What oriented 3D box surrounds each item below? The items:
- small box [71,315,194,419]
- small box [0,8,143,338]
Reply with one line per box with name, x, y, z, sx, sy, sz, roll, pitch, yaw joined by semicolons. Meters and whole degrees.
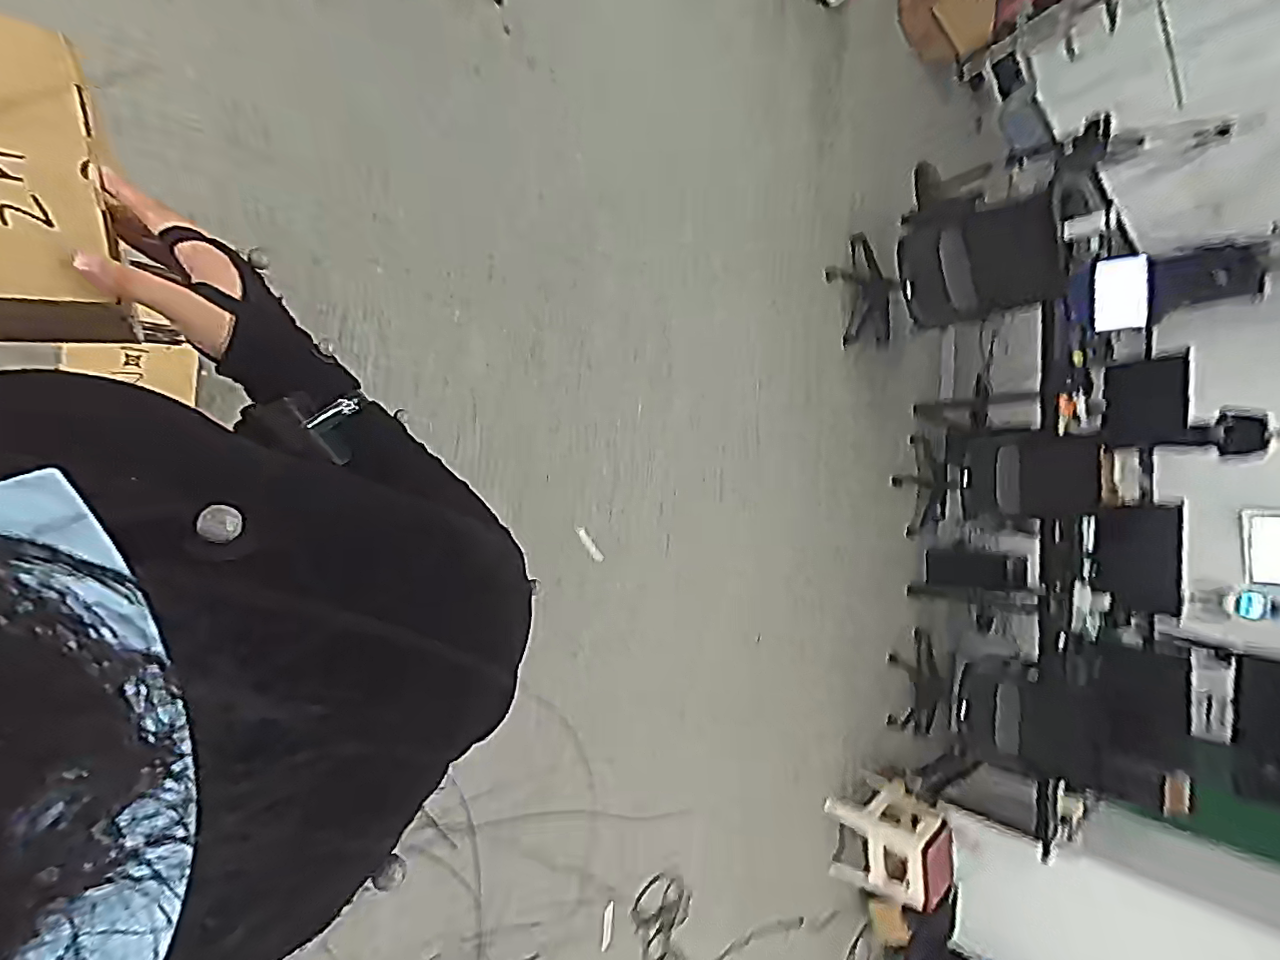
small box;-0.994;-0.223;1.069;0.168;0.176;0.179;1;88;-40
small box;-0.454;-0.186;0.347;0.179;0.176;0.168;-11;101;-39
